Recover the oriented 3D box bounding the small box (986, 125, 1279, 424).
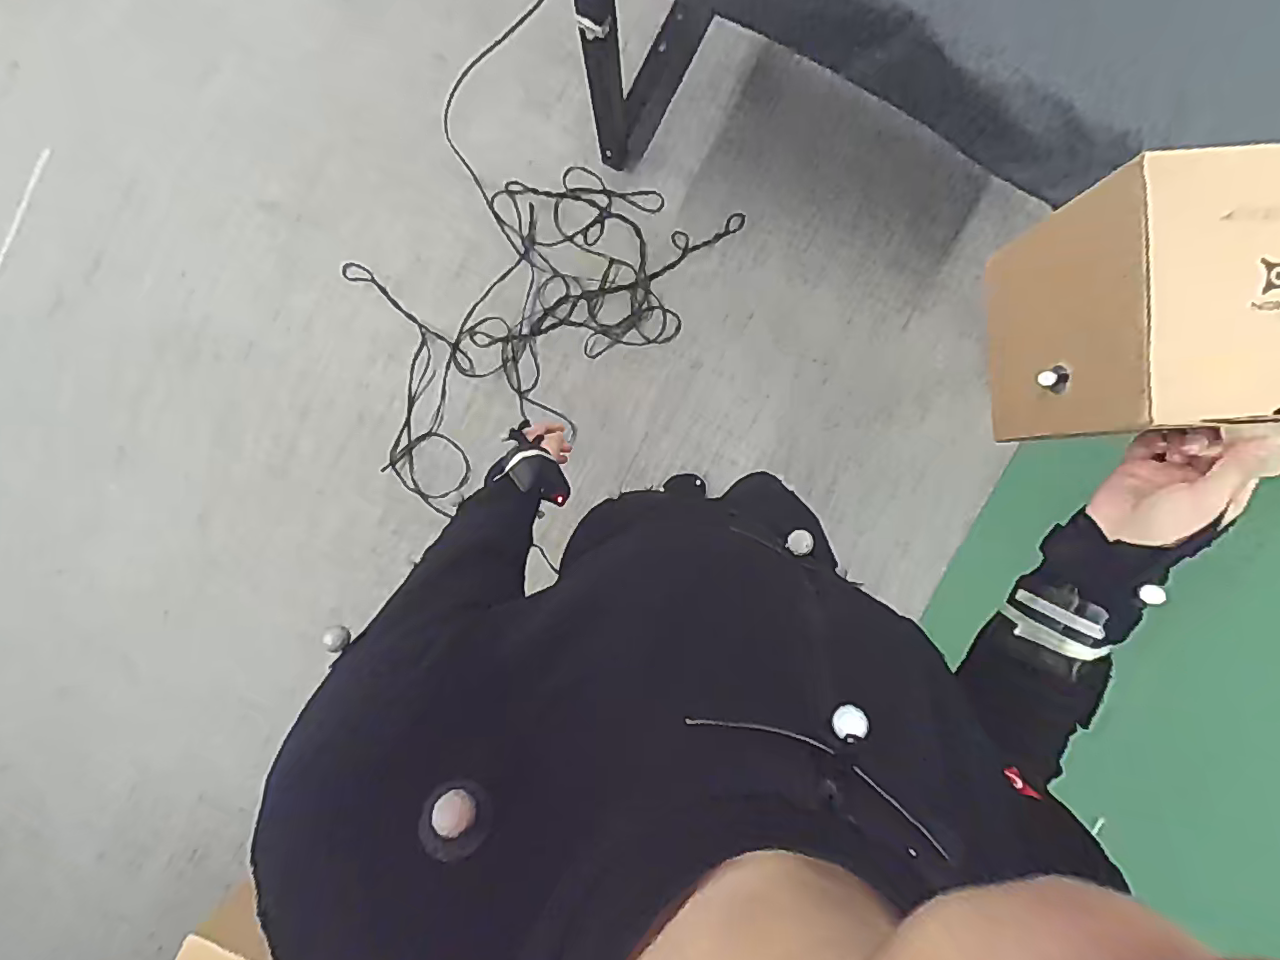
[{"bbox_3d":[0.402,-0.137,0.421,0.168,0.176,0.179,-3,90,2],"label":"small box"}]
